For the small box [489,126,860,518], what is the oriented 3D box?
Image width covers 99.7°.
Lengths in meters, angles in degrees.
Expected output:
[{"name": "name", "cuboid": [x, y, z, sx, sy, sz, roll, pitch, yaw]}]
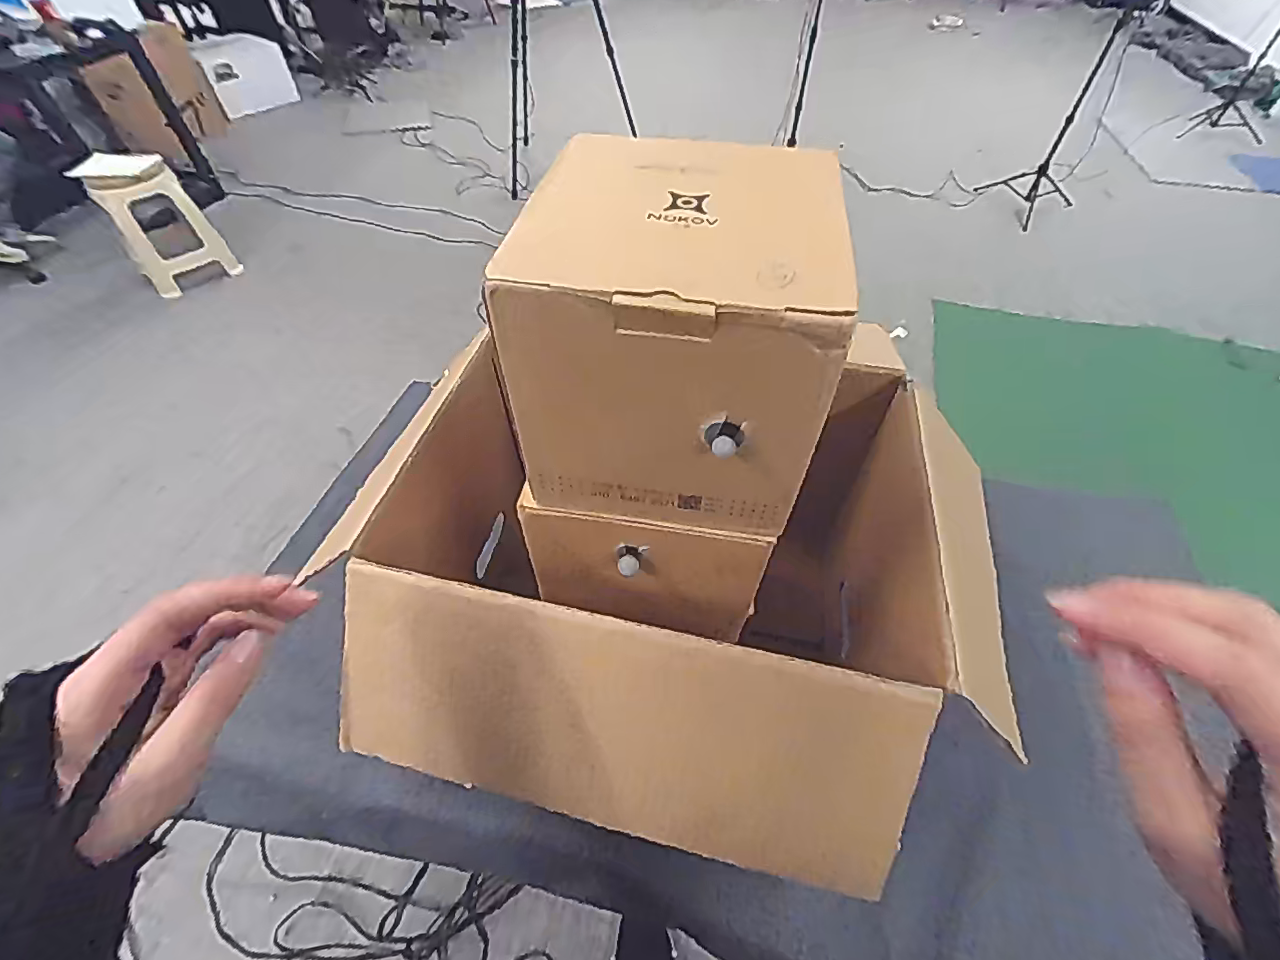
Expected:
[{"name": "small box", "cuboid": [0.025, -0.096, 0.345, 0.168, 0.176, 0.179, 8, 51, 4]}]
